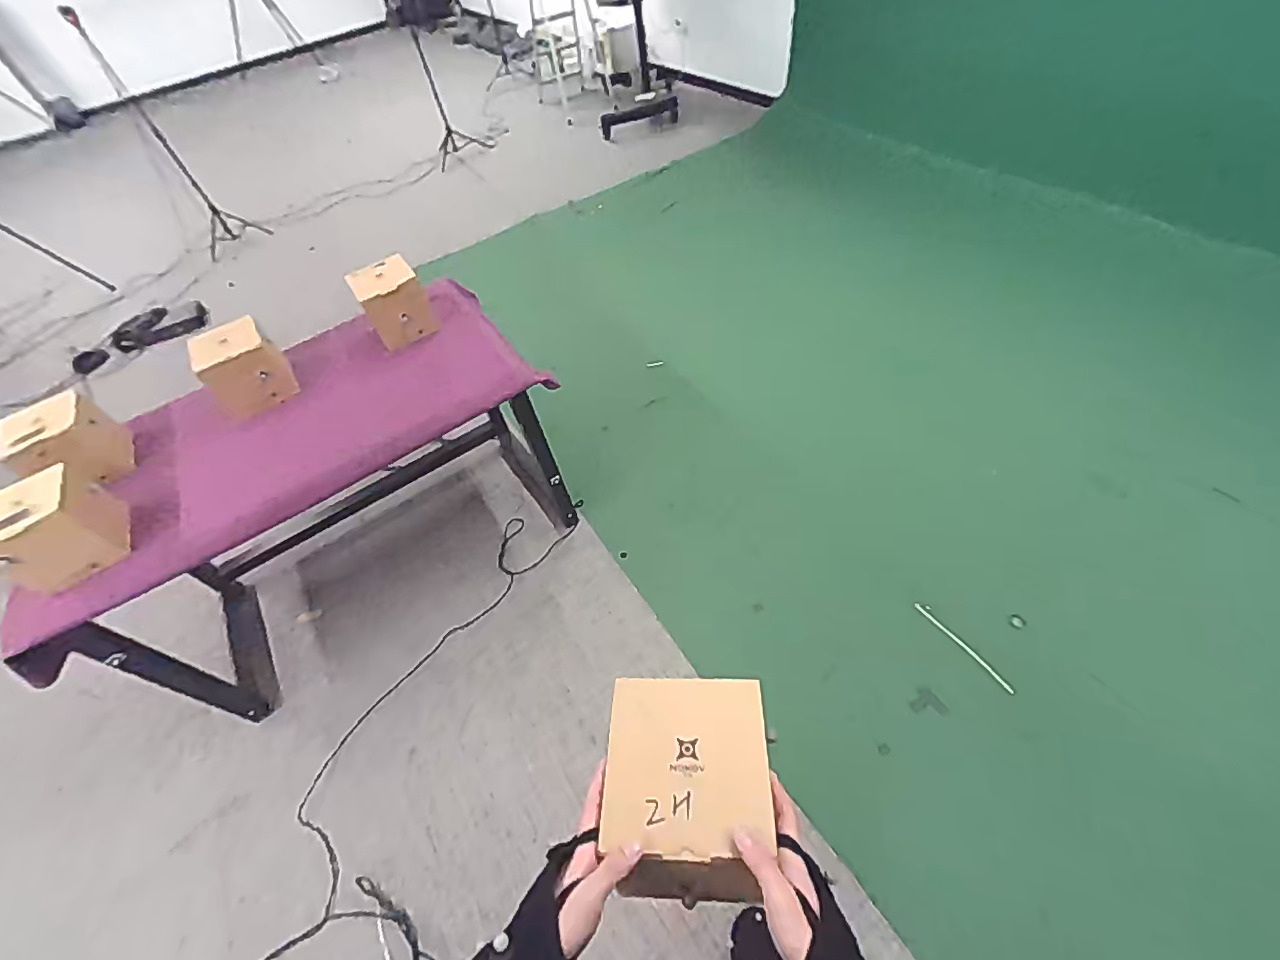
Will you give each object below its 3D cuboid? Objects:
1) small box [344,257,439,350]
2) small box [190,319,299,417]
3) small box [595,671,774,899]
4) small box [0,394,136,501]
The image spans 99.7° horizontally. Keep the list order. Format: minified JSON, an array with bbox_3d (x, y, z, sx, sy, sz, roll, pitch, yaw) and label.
[{"bbox_3d":[-0.705,-0.497,1.546,0.168,0.176,0.179,-31,54,-15],"label":"small box"},{"bbox_3d":[-1.052,-0.292,1.447,0.168,0.176,0.179,-32,53,-16],"label":"small box"},{"bbox_3d":[0.052,0.335,0.603,0.168,0.176,0.179,-2,41,7],"label":"small box"},{"bbox_3d":[-1.395,-0.072,1.329,0.168,0.176,0.179,-33,53,-17],"label":"small box"}]
